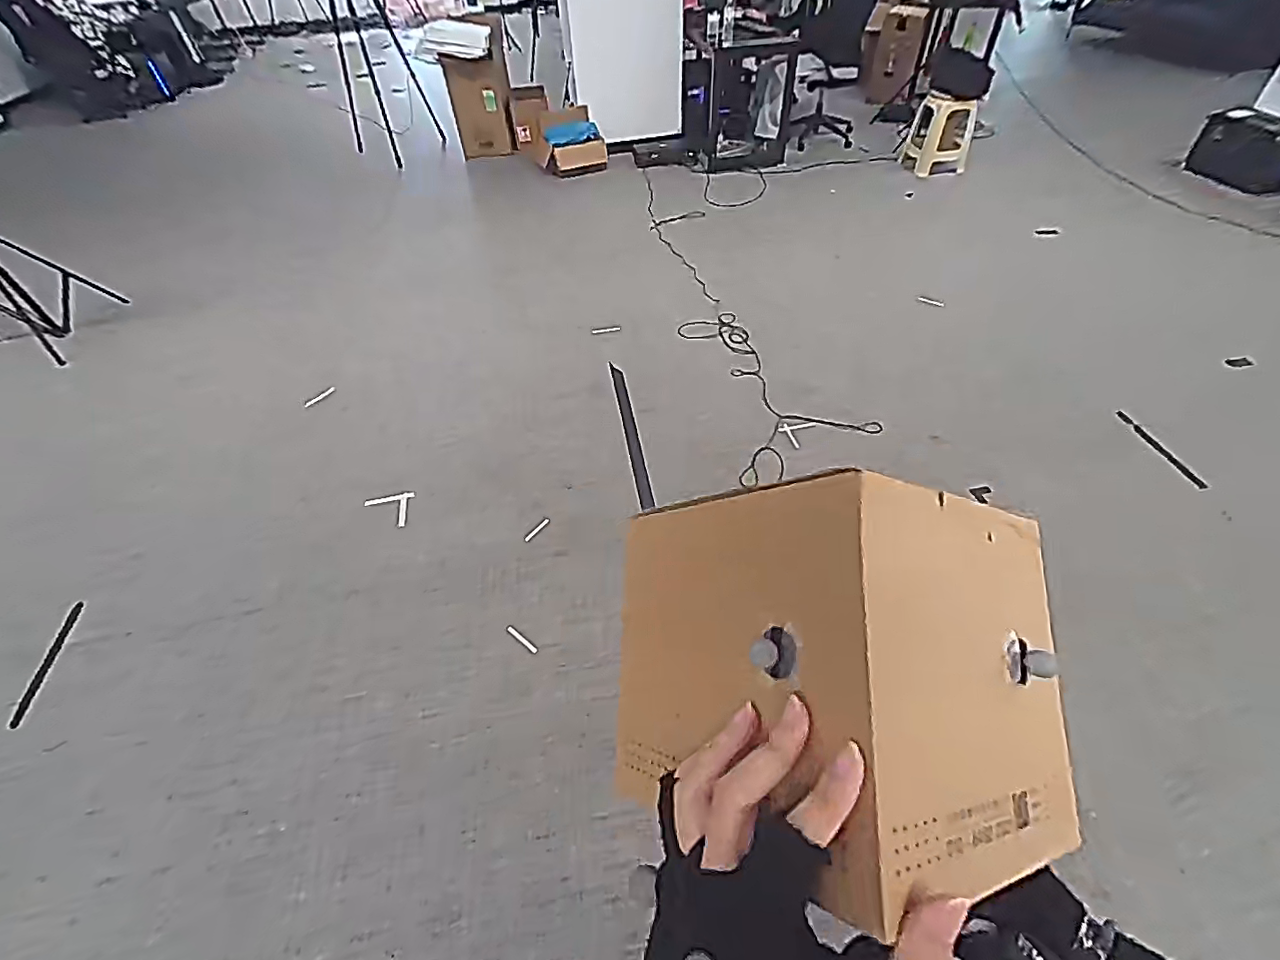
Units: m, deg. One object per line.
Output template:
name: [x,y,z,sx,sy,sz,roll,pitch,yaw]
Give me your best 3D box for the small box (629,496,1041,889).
small box: [0.107,0.113,0.328,0.168,0.179,0.176,12,73,-32]
